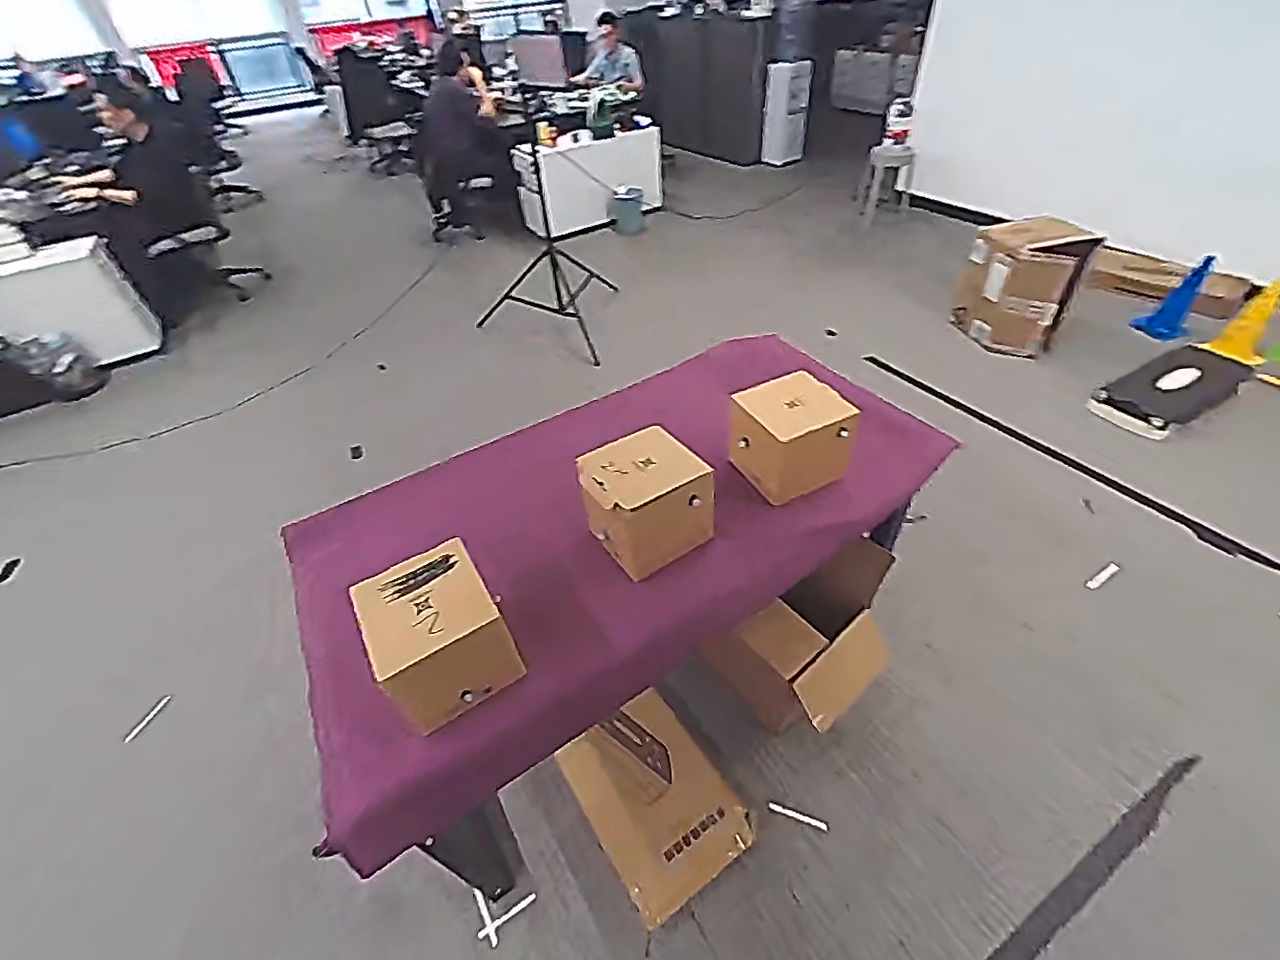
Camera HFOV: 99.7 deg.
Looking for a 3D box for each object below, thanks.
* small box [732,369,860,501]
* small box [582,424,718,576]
[{"bbox_3d":[0.296,-0.086,1.059,0.179,0.176,0.168,-21,46,-16],"label":"small box"},{"bbox_3d":[0.019,0.035,0.959,0.179,0.176,0.168,-27,45,-21],"label":"small box"}]
